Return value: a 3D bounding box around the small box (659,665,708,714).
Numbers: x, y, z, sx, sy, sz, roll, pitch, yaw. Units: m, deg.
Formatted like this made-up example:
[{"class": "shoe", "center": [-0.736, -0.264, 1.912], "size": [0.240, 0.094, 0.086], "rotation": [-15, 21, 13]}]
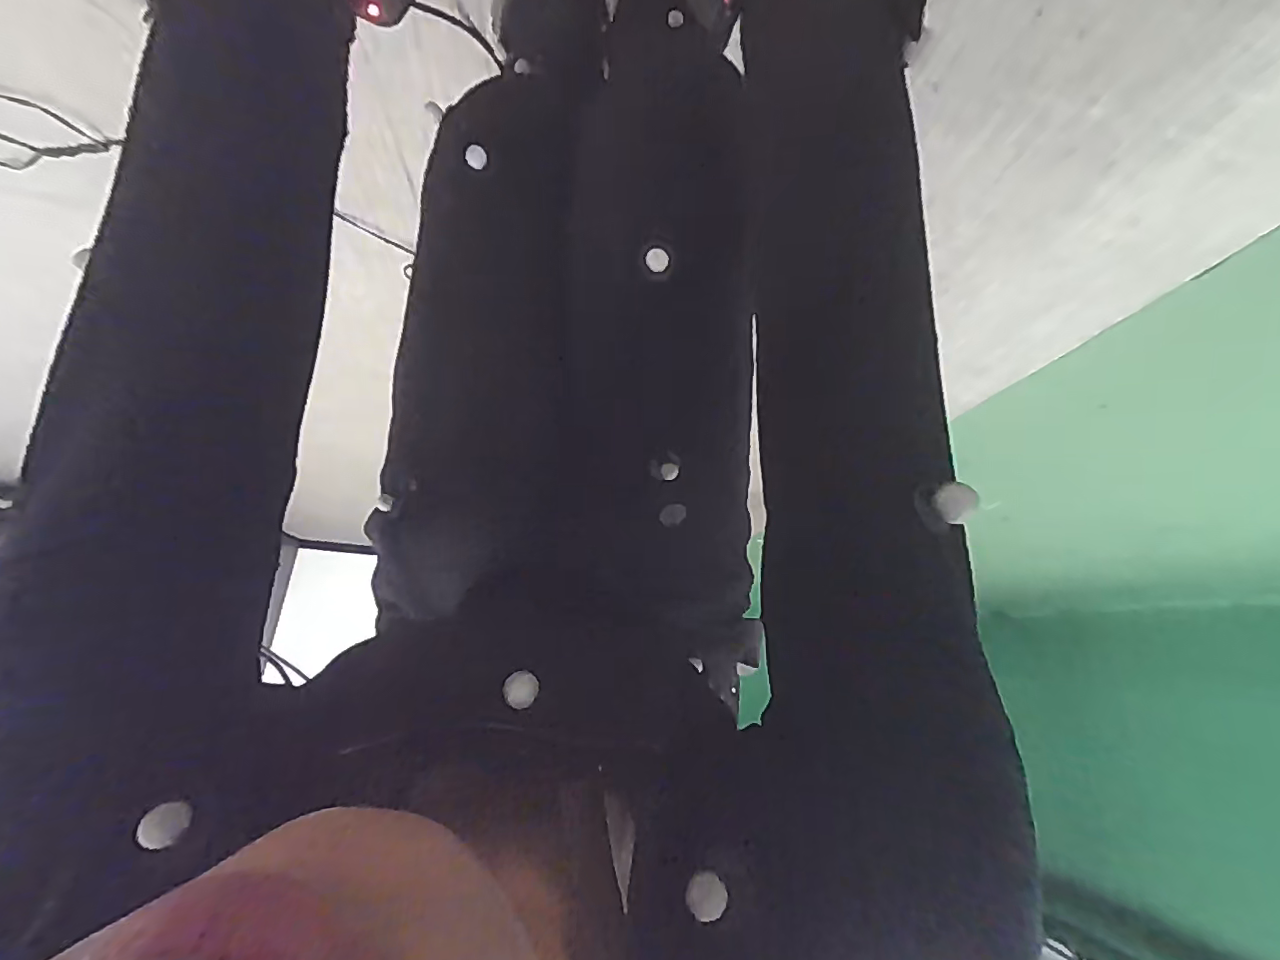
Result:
[{"class": "small box", "center": [0.180, 0.852, 2.214], "size": [0.168, 0.176, 0.179], "rotation": [9, 162, -7]}]
